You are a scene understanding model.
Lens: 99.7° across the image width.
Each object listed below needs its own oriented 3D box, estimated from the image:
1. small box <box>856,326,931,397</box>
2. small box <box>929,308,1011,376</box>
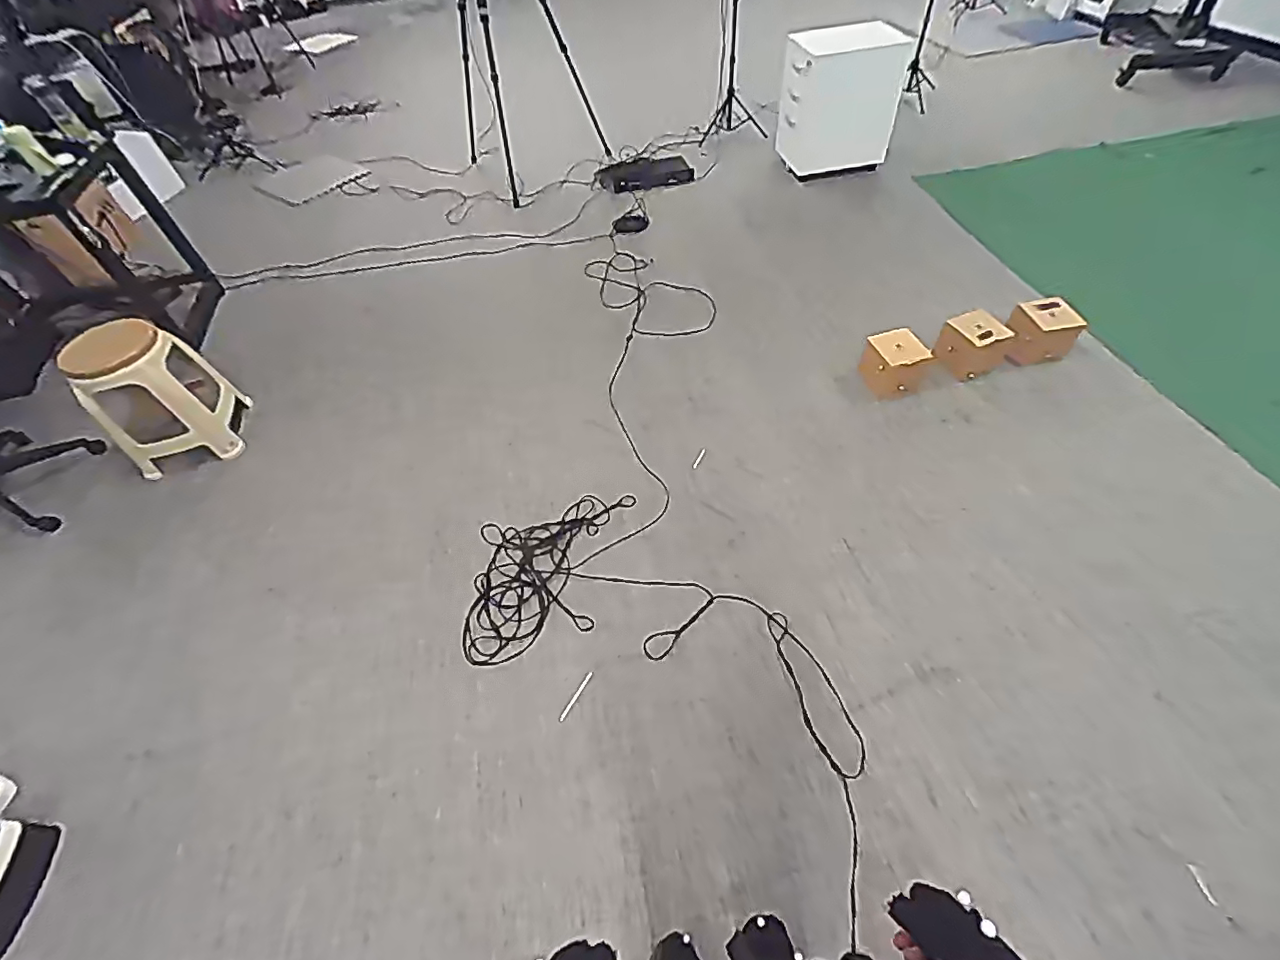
[{"bbox_3d":[0.929,-0.437,2.004,0.168,0.176,0.179,-16,54,-6],"label":"small box"},{"bbox_3d":[1.235,-0.514,2.037,0.168,0.176,0.179,-18,53,-10],"label":"small box"}]
